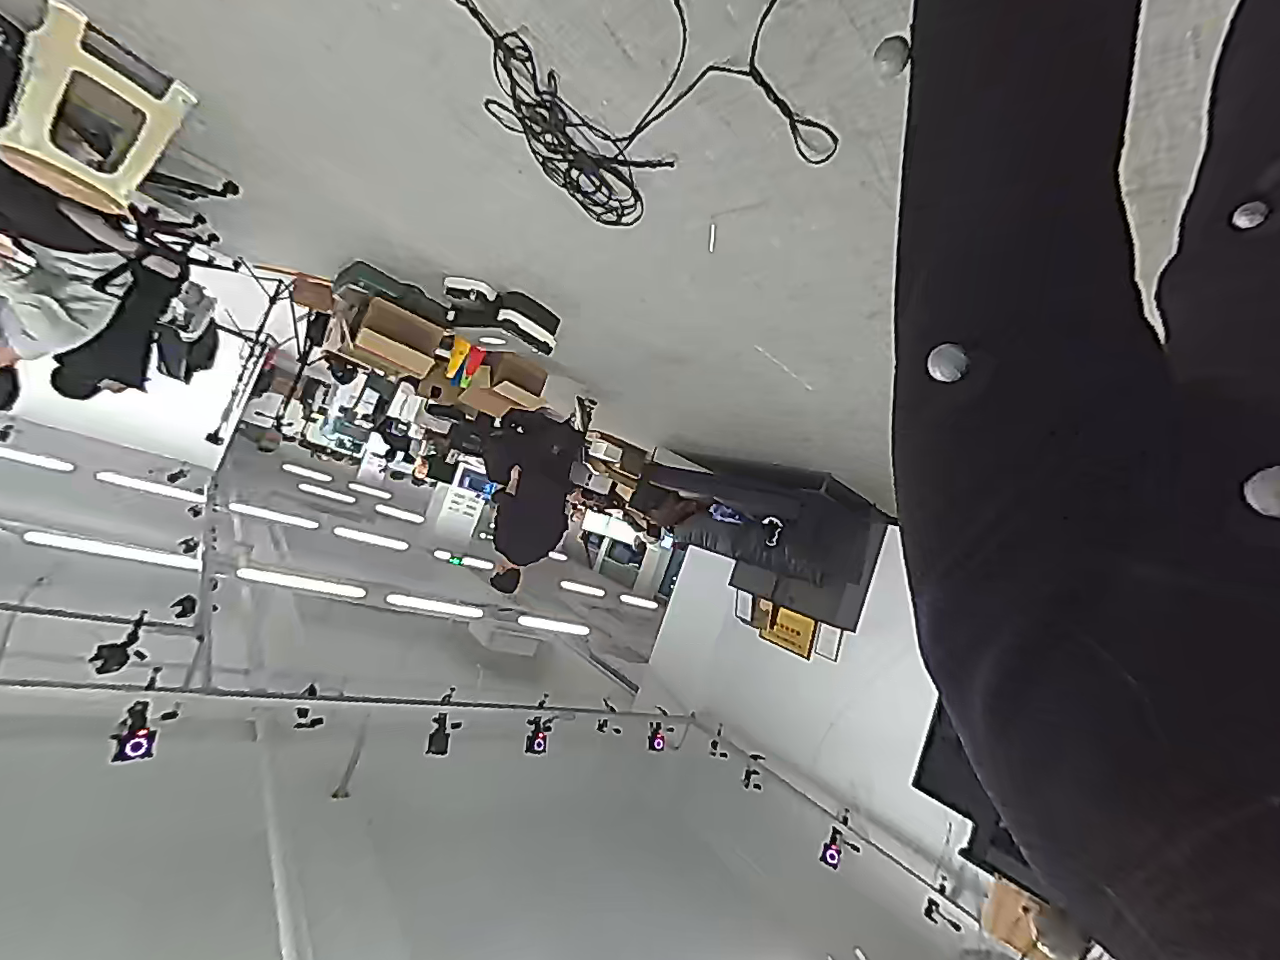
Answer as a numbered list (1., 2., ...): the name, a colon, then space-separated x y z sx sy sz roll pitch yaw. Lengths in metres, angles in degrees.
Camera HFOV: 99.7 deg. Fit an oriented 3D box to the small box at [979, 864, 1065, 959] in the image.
1. small box: 1.124 1.273 1.586 0.168 0.176 0.179 14 172 43
